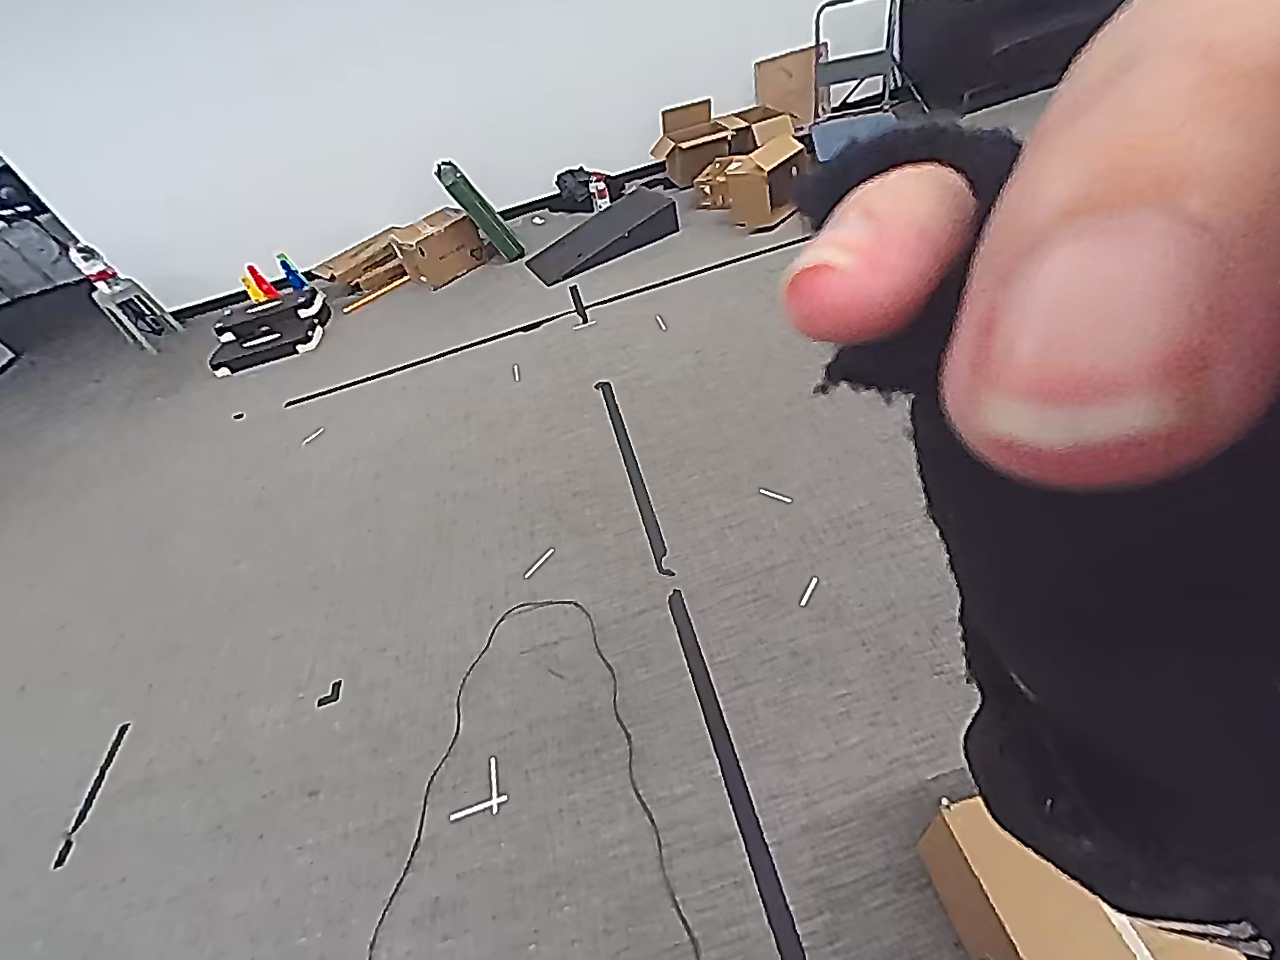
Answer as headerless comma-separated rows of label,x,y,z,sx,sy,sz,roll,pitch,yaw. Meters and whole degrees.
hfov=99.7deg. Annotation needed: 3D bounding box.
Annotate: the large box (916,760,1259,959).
large box,0.749,0.779,0.927,0.320,0.320,0.408,-16,43,-2
